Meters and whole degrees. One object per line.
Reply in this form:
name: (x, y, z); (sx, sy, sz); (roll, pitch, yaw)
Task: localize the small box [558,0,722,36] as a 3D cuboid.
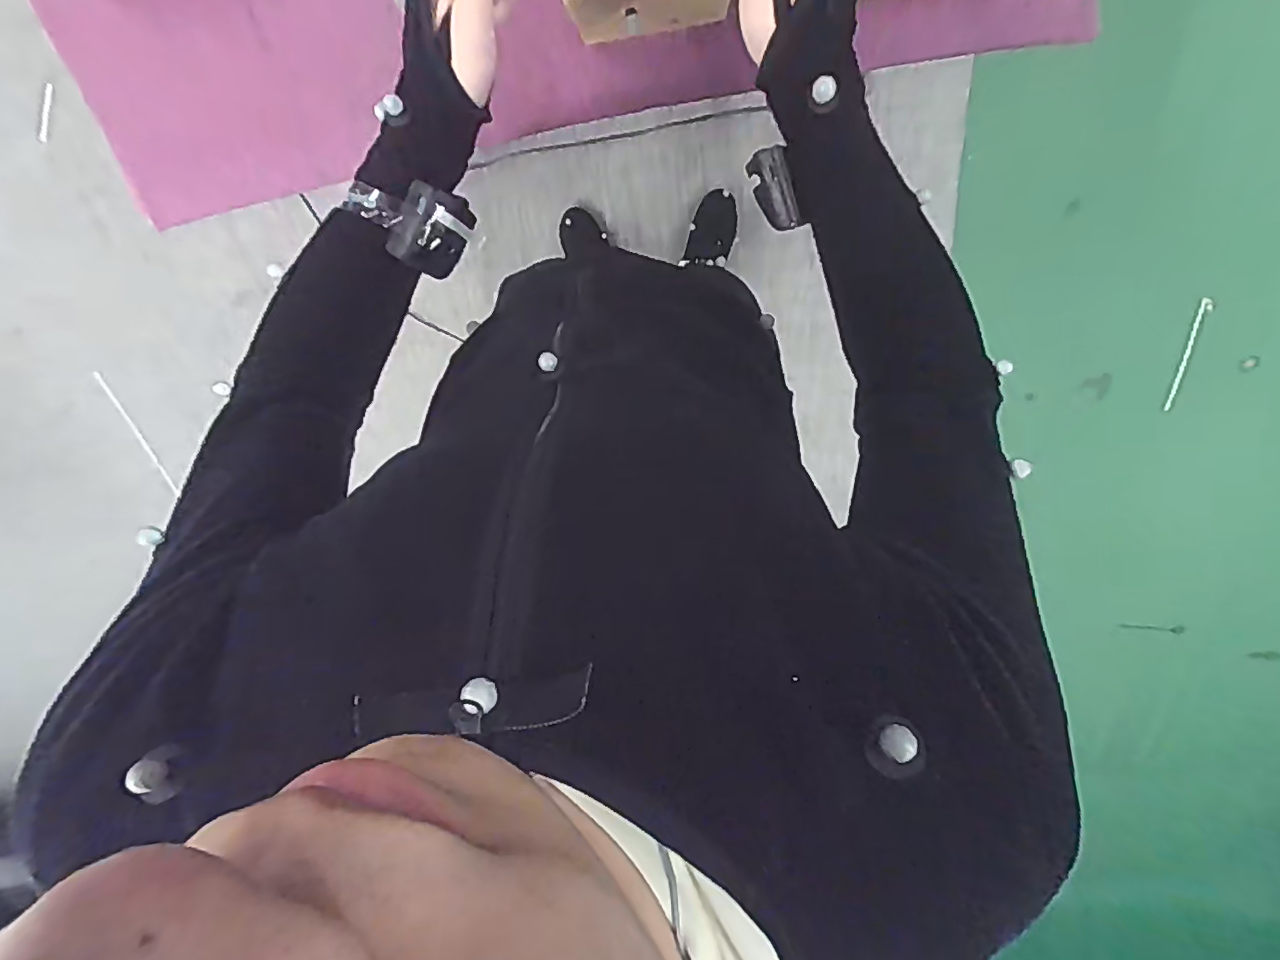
small box: (-0.001, -0.563, 0.525); (0.168, 0.176, 0.179); (-5, 117, 6)
